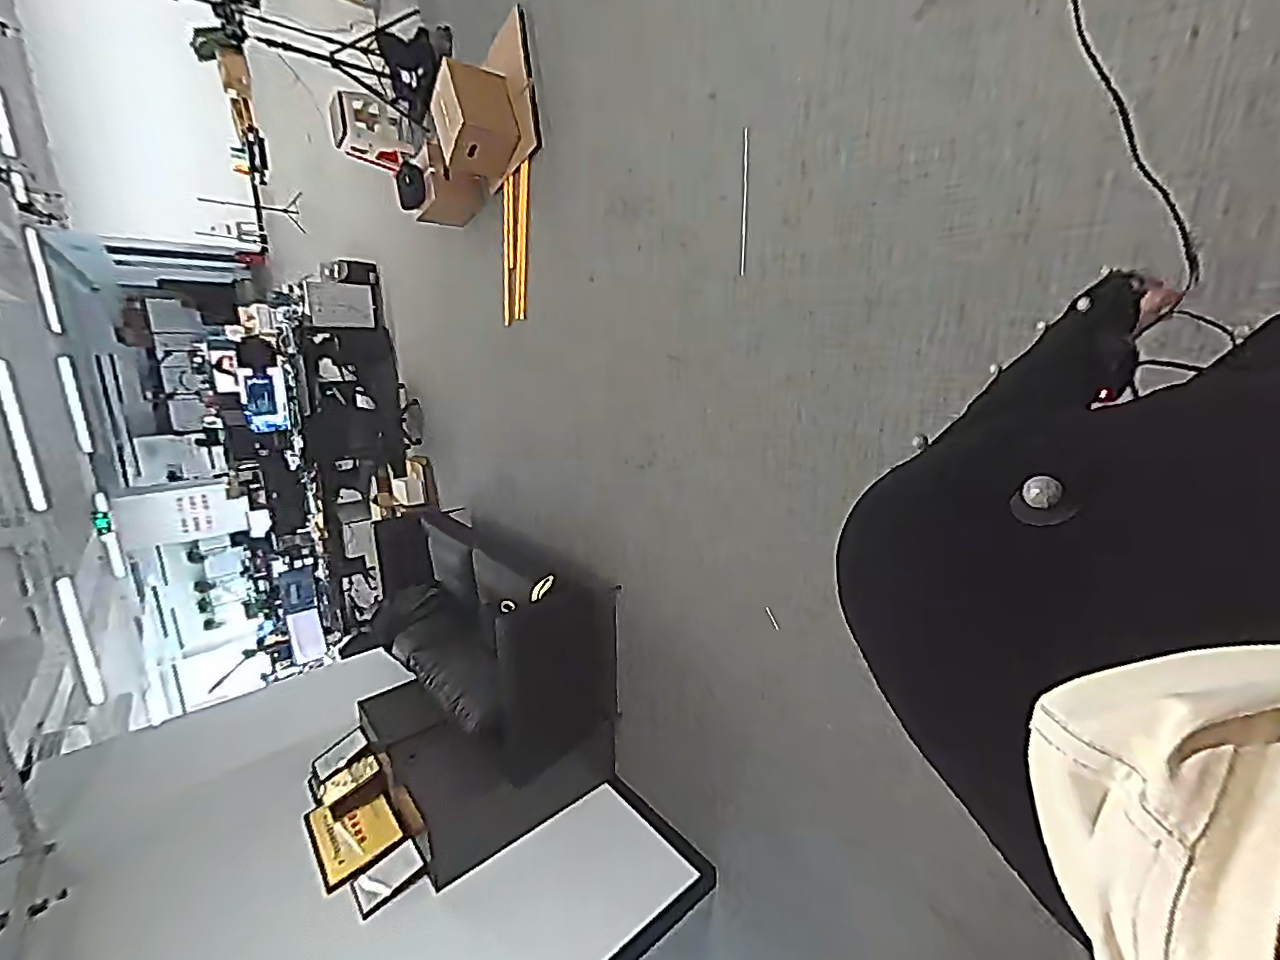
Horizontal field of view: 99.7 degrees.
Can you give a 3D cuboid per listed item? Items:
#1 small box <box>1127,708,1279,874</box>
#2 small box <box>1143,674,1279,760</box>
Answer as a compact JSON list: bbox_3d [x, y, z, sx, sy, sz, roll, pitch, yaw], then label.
[{"bbox_3d":[1.063,0.570,1.018,0.168,0.176,0.179,23,118,44],"label":"small box"},{"bbox_3d":[1.186,0.543,1.124,0.168,0.176,0.179,20,114,45],"label":"small box"}]
